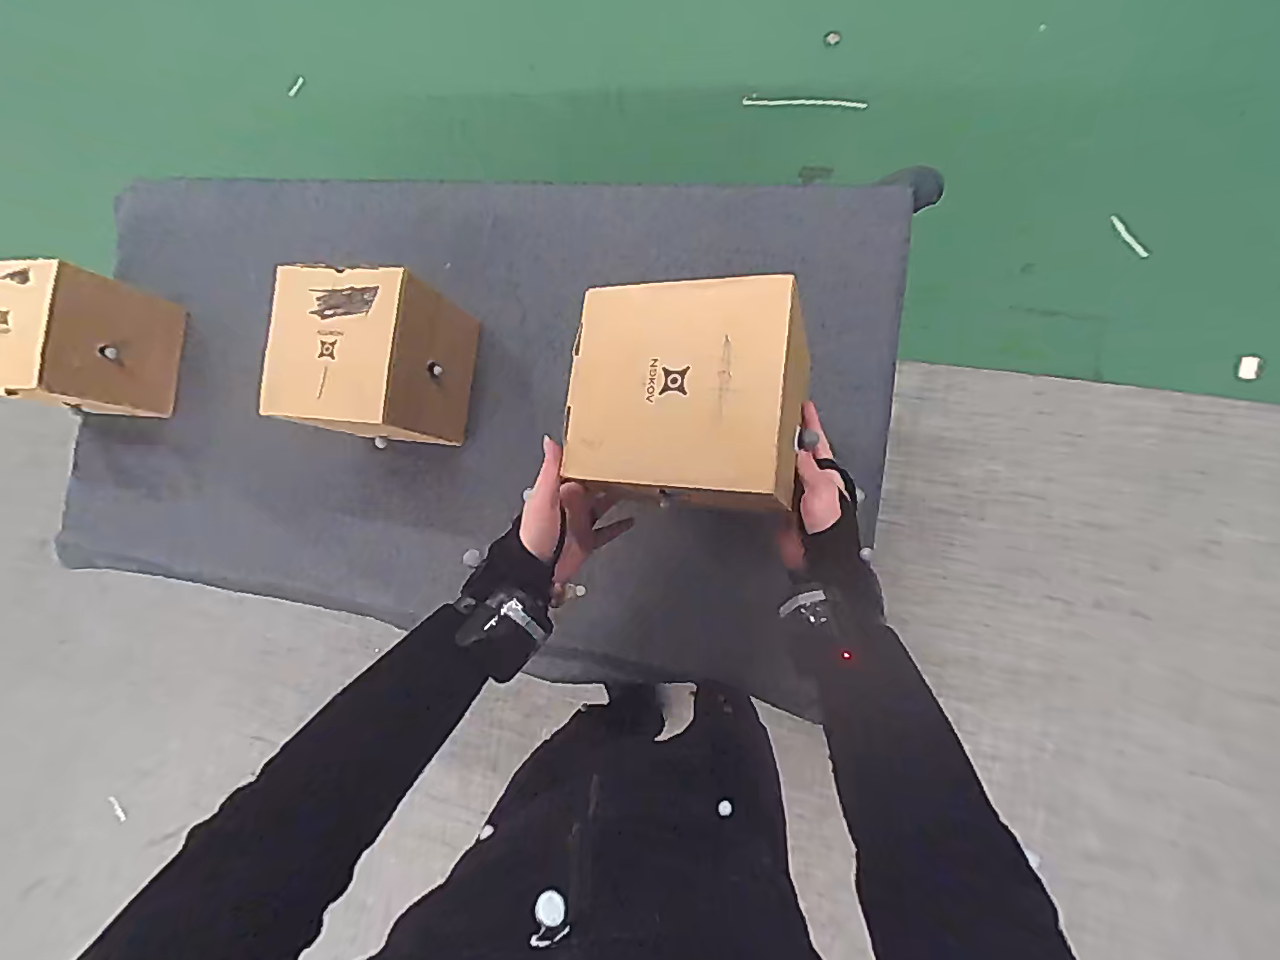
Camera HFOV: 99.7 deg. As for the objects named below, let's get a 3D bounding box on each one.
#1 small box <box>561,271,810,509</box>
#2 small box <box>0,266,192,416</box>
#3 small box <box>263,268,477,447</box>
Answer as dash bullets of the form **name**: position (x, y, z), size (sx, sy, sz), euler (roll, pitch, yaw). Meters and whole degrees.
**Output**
- **small box**: position (0.053, -0.067, 0.493), size (0.179, 0.176, 0.168), euler (4, 83, 21)
- **small box**: position (-0.808, -0.193, 0.794), size (0.168, 0.176, 0.179), euler (4, 87, 12)
- **small box**: position (-0.324, -0.145, 0.681), size (0.168, 0.176, 0.179), euler (6, 88, 13)
